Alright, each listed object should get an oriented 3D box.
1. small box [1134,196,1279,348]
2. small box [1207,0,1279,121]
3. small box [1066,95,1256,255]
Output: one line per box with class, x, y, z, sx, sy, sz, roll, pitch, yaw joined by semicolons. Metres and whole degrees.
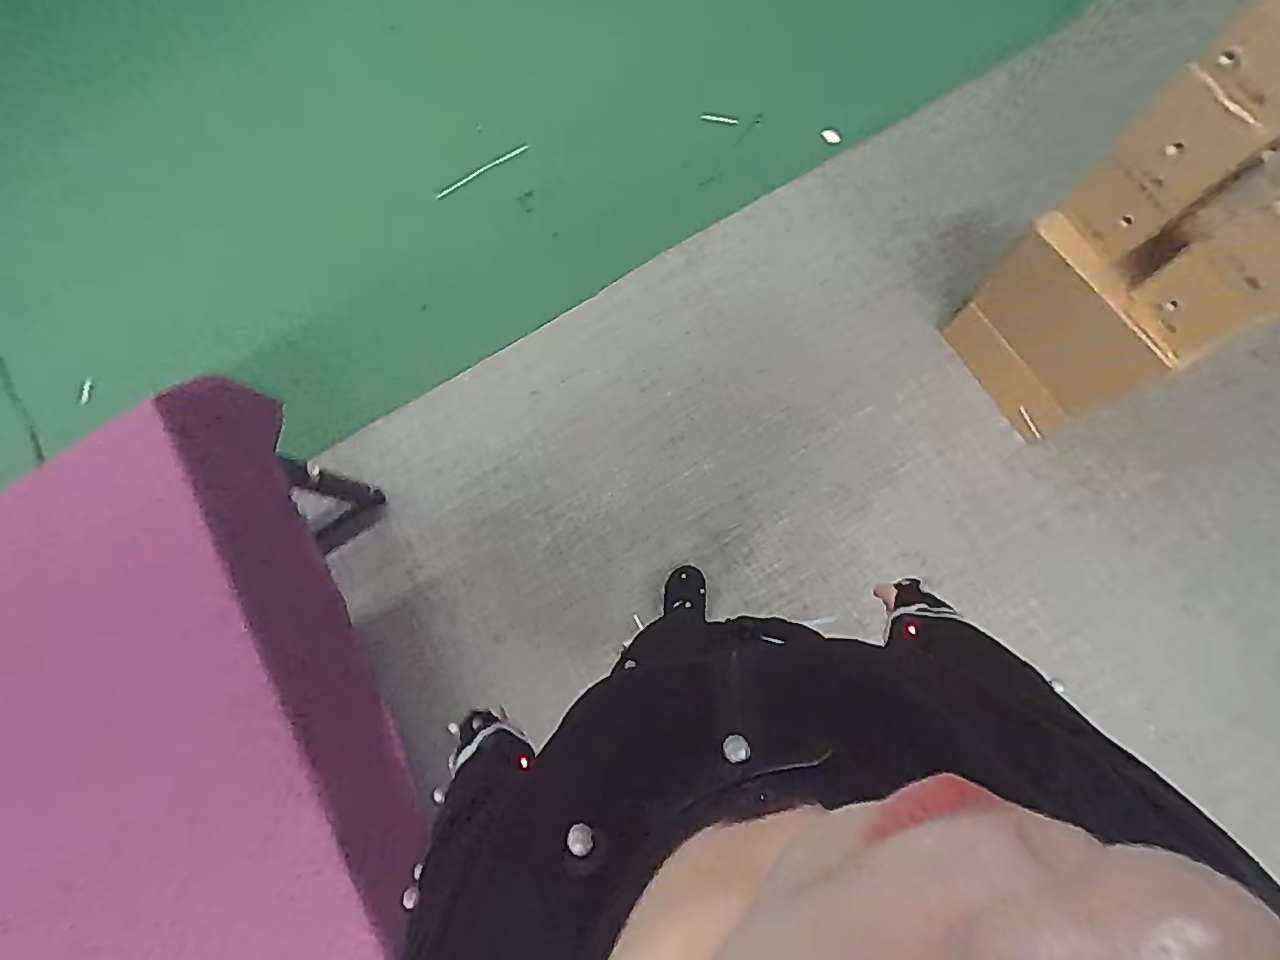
small box;1.080;-0.372;0.984;0.179;0.176;0.168;-25;75;2
small box;0.939;-0.637;0.724;0.179;0.176;0.168;-31;78;-1
small box;0.979;-0.576;1.044;0.179;0.176;0.168;-29;78;0
